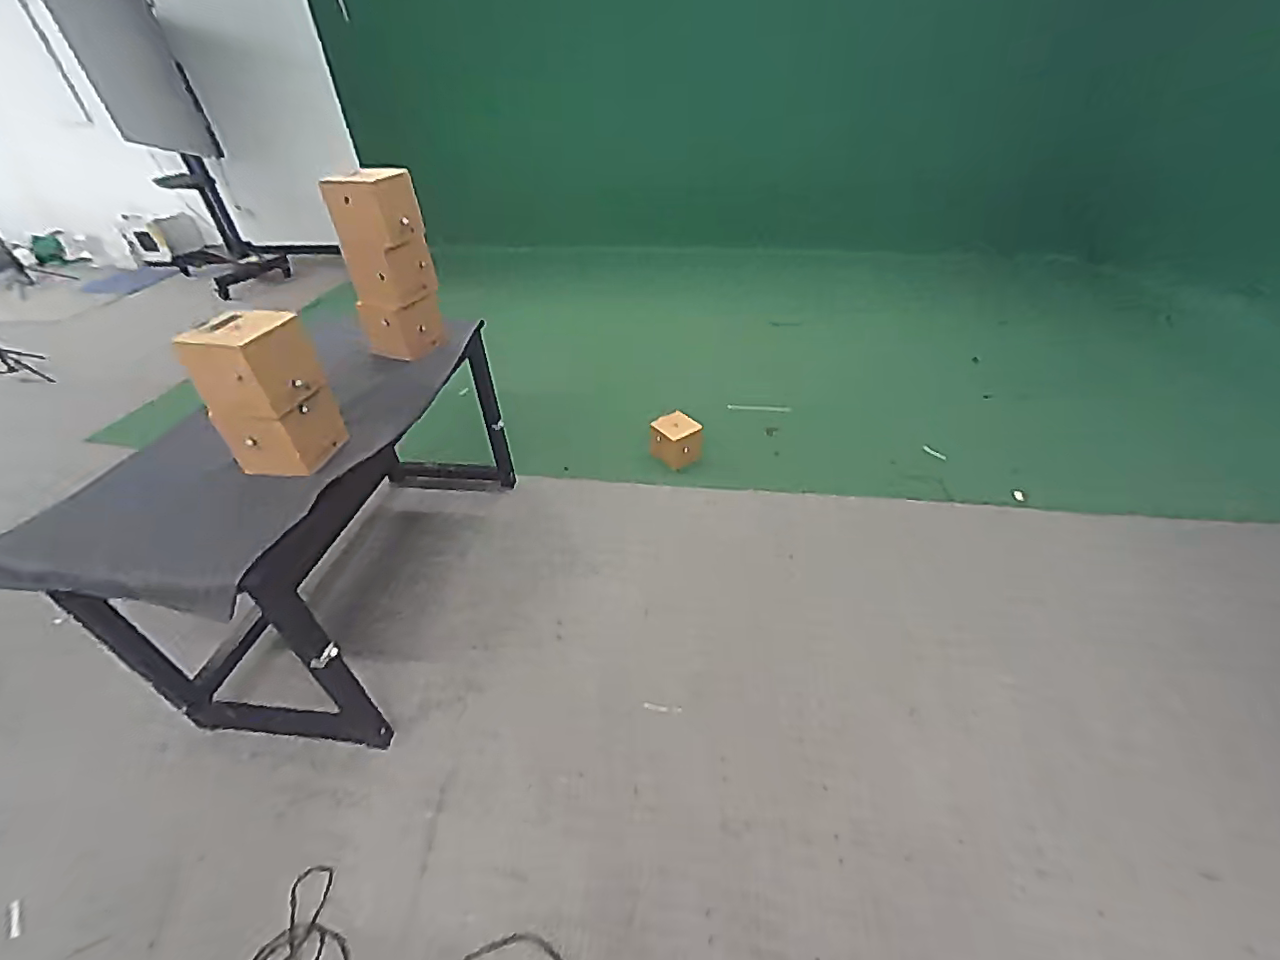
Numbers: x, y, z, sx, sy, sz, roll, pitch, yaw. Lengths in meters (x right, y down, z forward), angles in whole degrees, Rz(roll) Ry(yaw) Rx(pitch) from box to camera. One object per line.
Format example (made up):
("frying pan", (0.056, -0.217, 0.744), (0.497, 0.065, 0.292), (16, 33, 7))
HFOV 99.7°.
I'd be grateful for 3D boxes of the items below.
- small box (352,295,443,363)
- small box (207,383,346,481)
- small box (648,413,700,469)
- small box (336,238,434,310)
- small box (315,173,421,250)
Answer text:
("small box", (-0.755, -0.484, 1.704), (0.179, 0.176, 0.168), (15, 42, 24))
("small box", (-0.837, -0.112, 1.263), (0.179, 0.176, 0.168), (2, 39, 8))
("small box", (0.153, -0.170, 2.426), (0.168, 0.176, 0.179), (-27, 45, -26))
("small box", (-0.752, -0.621, 1.615), (0.179, 0.176, 0.168), (11, 40, 20))
("small box", (-0.753, -0.752, 1.517), (0.179, 0.176, 0.168), (9, 40, 15))
